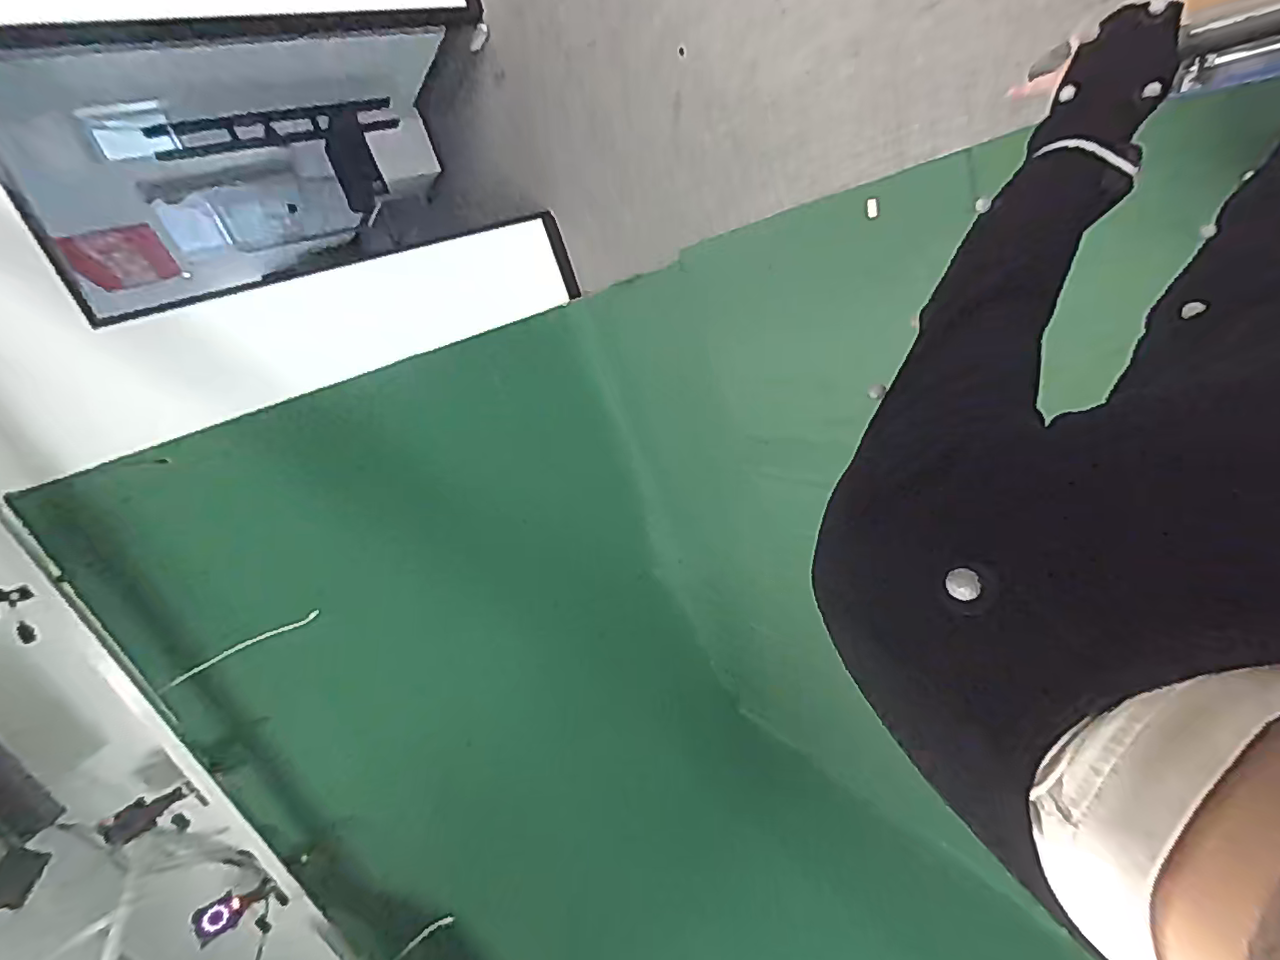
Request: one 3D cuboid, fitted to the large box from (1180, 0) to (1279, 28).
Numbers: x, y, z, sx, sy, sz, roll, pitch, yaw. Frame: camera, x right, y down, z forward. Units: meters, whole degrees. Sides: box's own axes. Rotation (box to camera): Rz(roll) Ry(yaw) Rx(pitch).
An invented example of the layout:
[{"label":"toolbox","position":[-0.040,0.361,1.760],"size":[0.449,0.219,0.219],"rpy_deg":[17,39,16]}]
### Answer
[{"label":"large box","position":[0.881,-0.801,0.589],"size":[0.320,0.320,0.408],"rpy_deg":[21,132,50]}]
